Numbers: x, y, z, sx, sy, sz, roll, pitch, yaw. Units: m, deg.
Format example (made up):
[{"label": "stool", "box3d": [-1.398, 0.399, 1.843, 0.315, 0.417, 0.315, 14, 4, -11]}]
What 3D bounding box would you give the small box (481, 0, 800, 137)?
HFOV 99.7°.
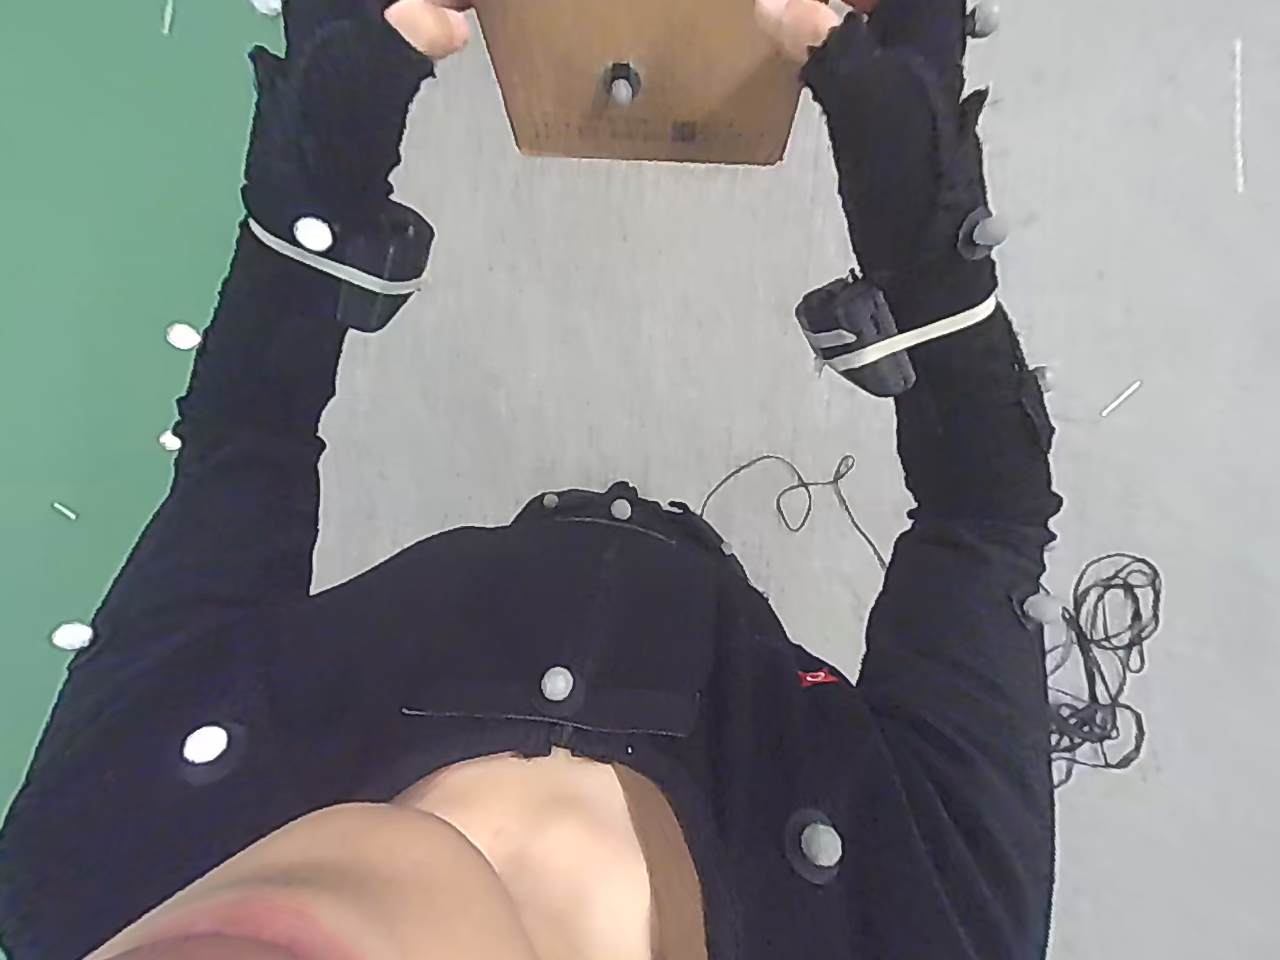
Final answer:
[{"label": "small box", "box3d": [0.002, -0.318, 0.273, 0.168, 0.176, 0.179, 4, 79, 2]}]
